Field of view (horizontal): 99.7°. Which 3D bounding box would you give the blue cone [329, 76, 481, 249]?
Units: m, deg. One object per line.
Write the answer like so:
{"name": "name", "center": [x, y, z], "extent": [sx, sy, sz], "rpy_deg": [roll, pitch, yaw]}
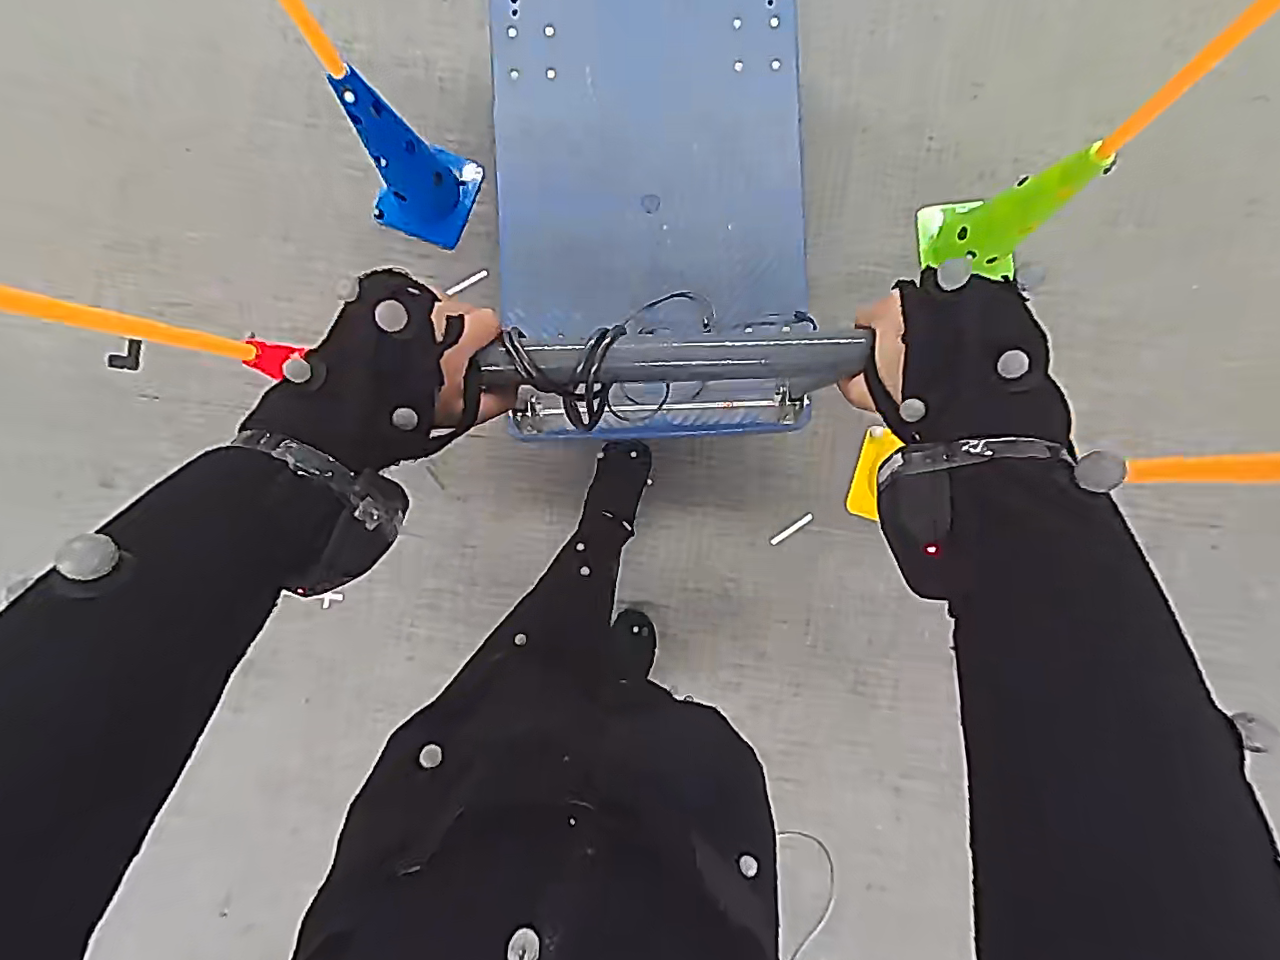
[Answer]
{"name": "blue cone", "center": [-0.461, -0.621, 1.026], "extent": [0.193, 0.380, 0.192], "rpy_deg": [23, 90, 1]}

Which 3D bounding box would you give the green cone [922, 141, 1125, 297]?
{"name": "green cone", "center": [0.714, -0.502, 0.999], "extent": [0.200, 0.368, 0.202], "rpy_deg": [-6, 91, 1]}
